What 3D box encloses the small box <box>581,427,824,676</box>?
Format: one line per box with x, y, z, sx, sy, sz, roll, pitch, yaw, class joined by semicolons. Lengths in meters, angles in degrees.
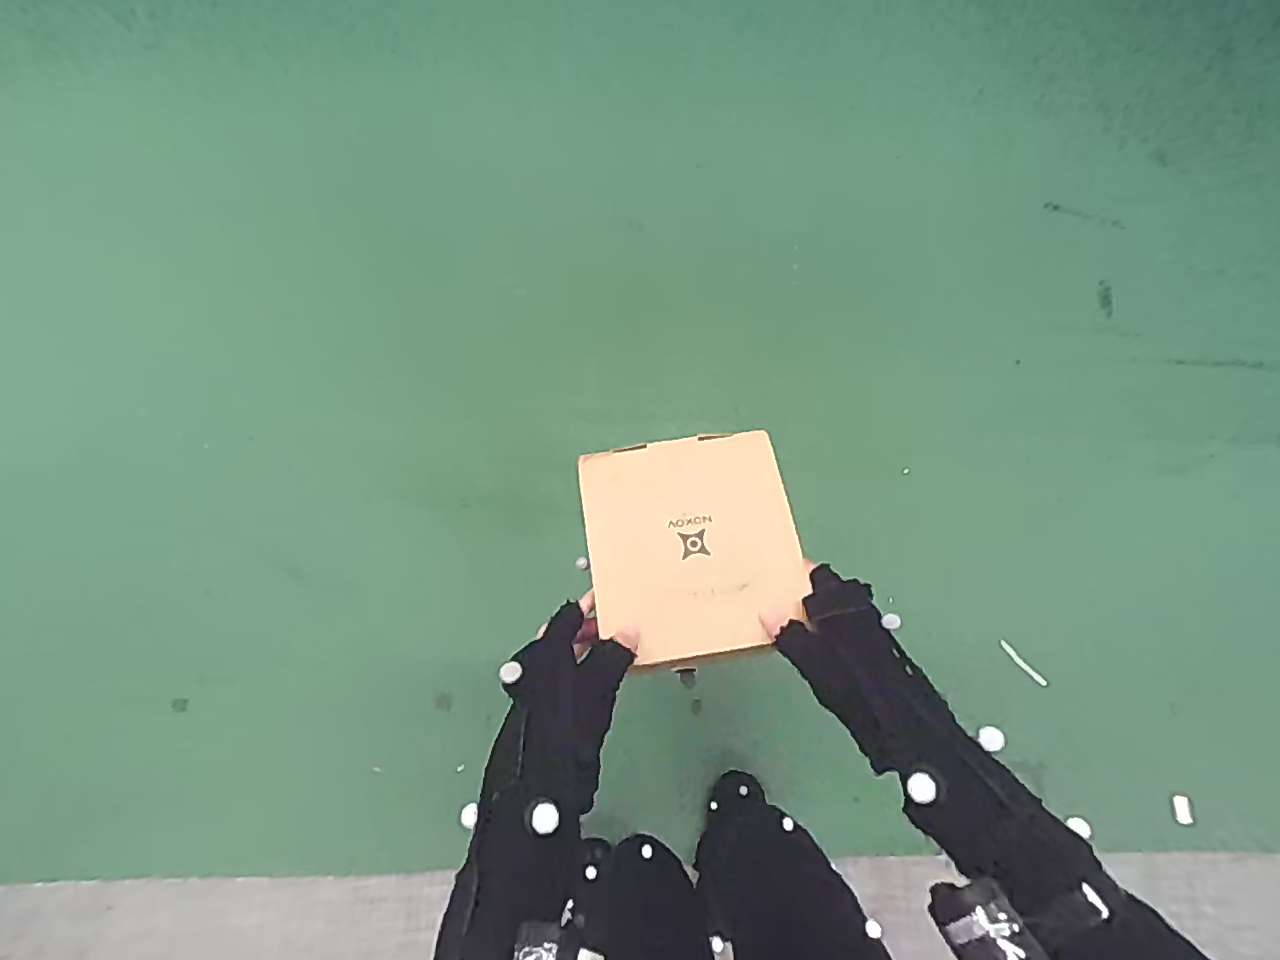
0.043;0.075;0.496;0.168;0.176;0.179;-9;69;-3;small box
